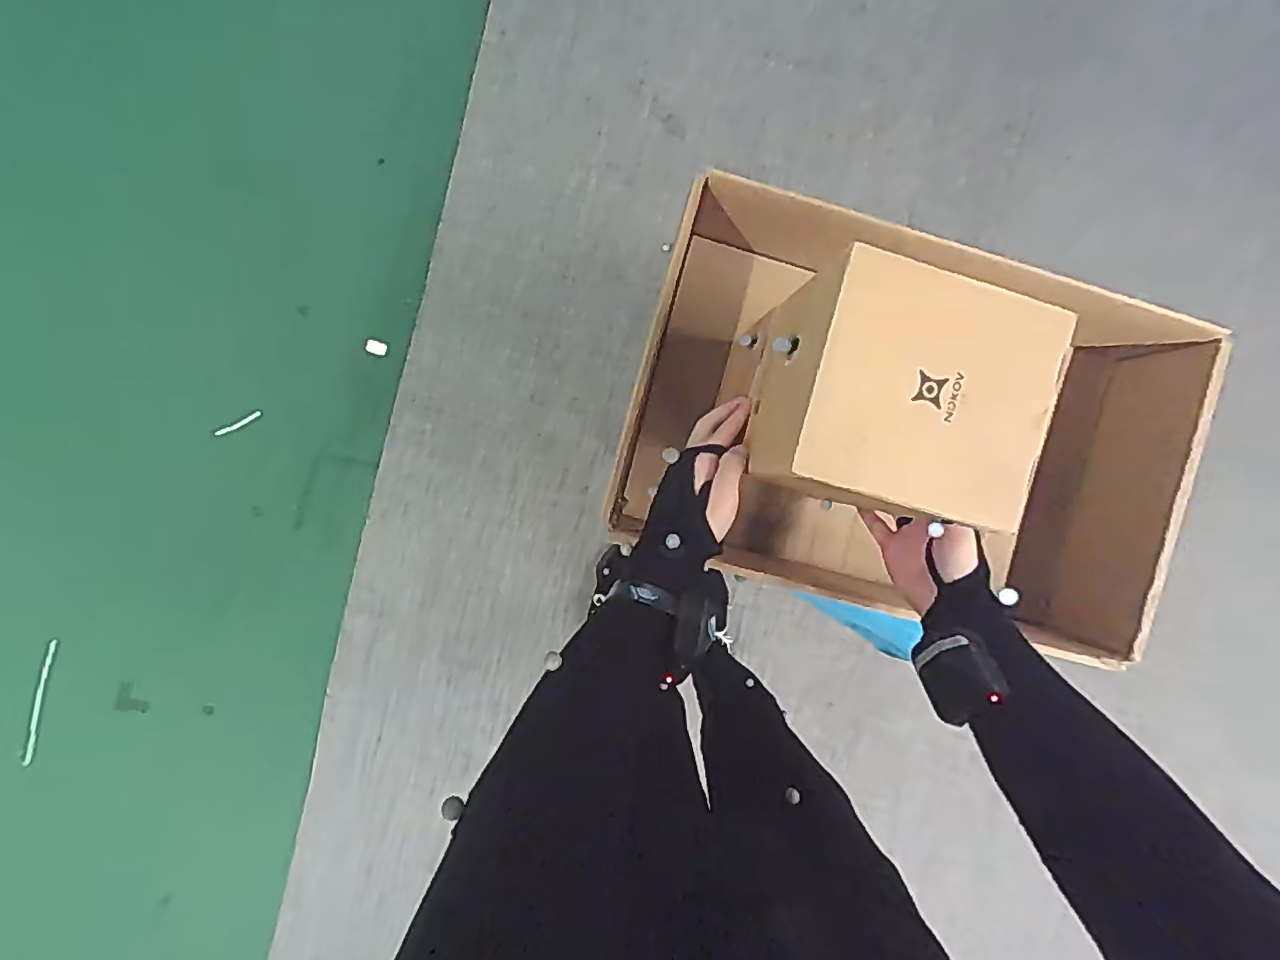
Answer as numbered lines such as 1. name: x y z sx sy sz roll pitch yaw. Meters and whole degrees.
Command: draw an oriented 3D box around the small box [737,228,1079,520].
1. small box: 0.196 -0.072 0.449 0.179 0.176 0.168 15 91 -6
